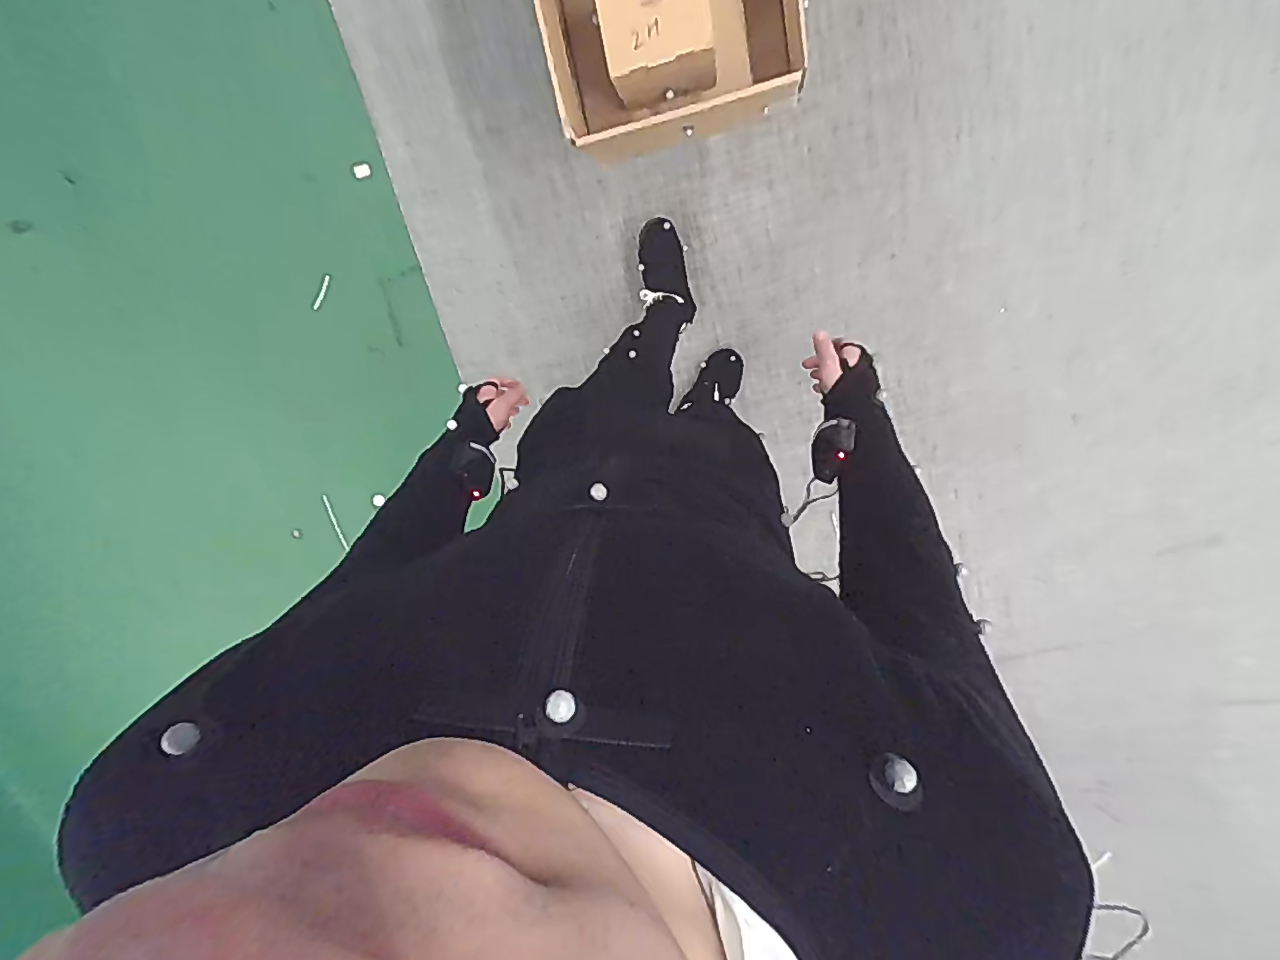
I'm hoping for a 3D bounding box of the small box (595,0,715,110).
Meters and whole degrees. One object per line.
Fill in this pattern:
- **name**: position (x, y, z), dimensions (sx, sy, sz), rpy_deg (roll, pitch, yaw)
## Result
- **small box**: position (0.026, -0.737, 0.866), dimensions (0.168, 0.176, 0.179), rpy_deg (-8, 107, 13)
